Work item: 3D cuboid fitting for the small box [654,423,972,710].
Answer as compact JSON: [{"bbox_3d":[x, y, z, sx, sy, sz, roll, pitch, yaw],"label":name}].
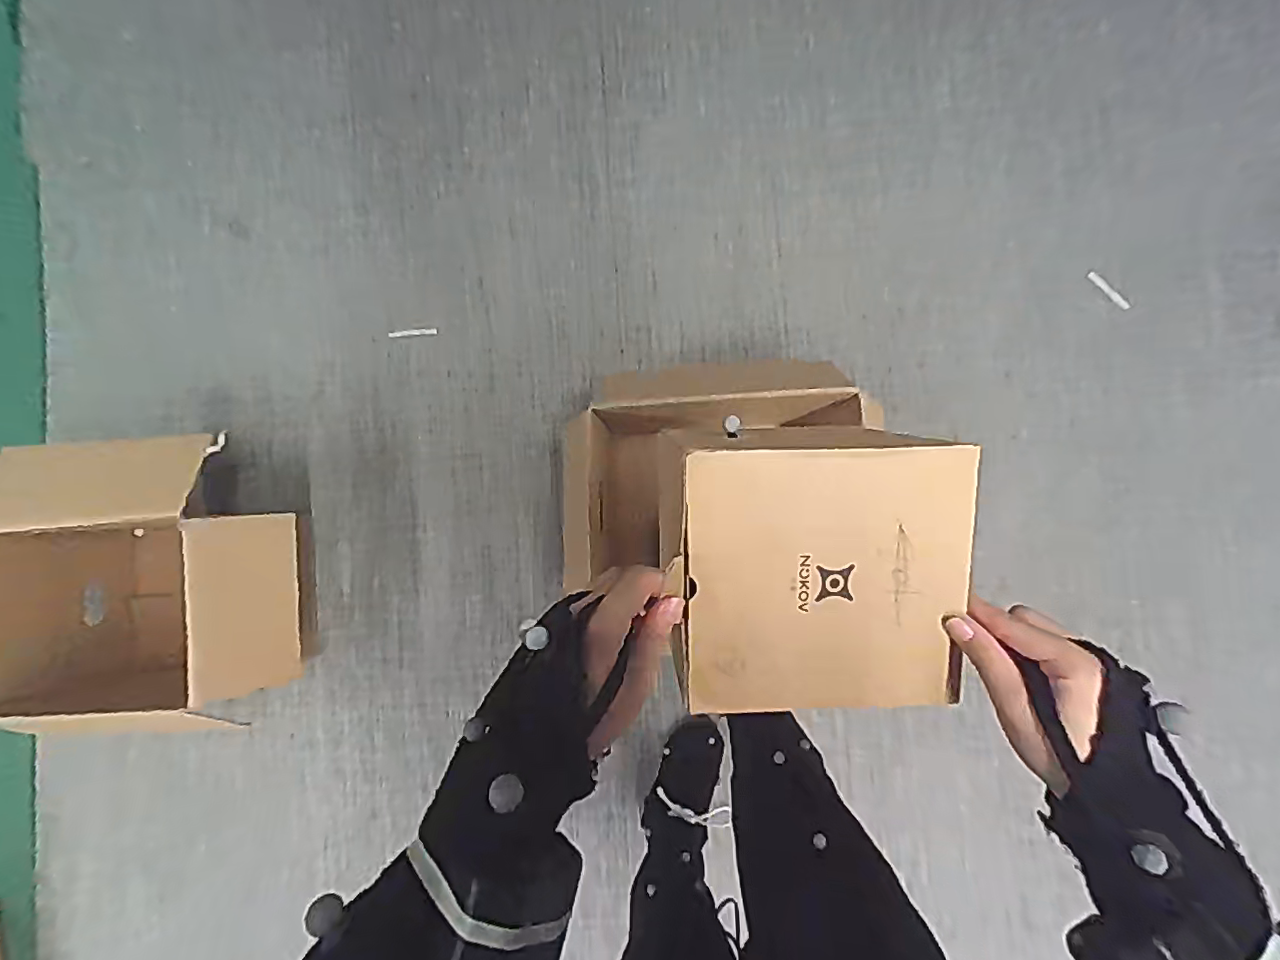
[{"bbox_3d":[0.103,0.046,0.401,0.179,0.176,0.168,-1,100,-4],"label":"small box"}]
